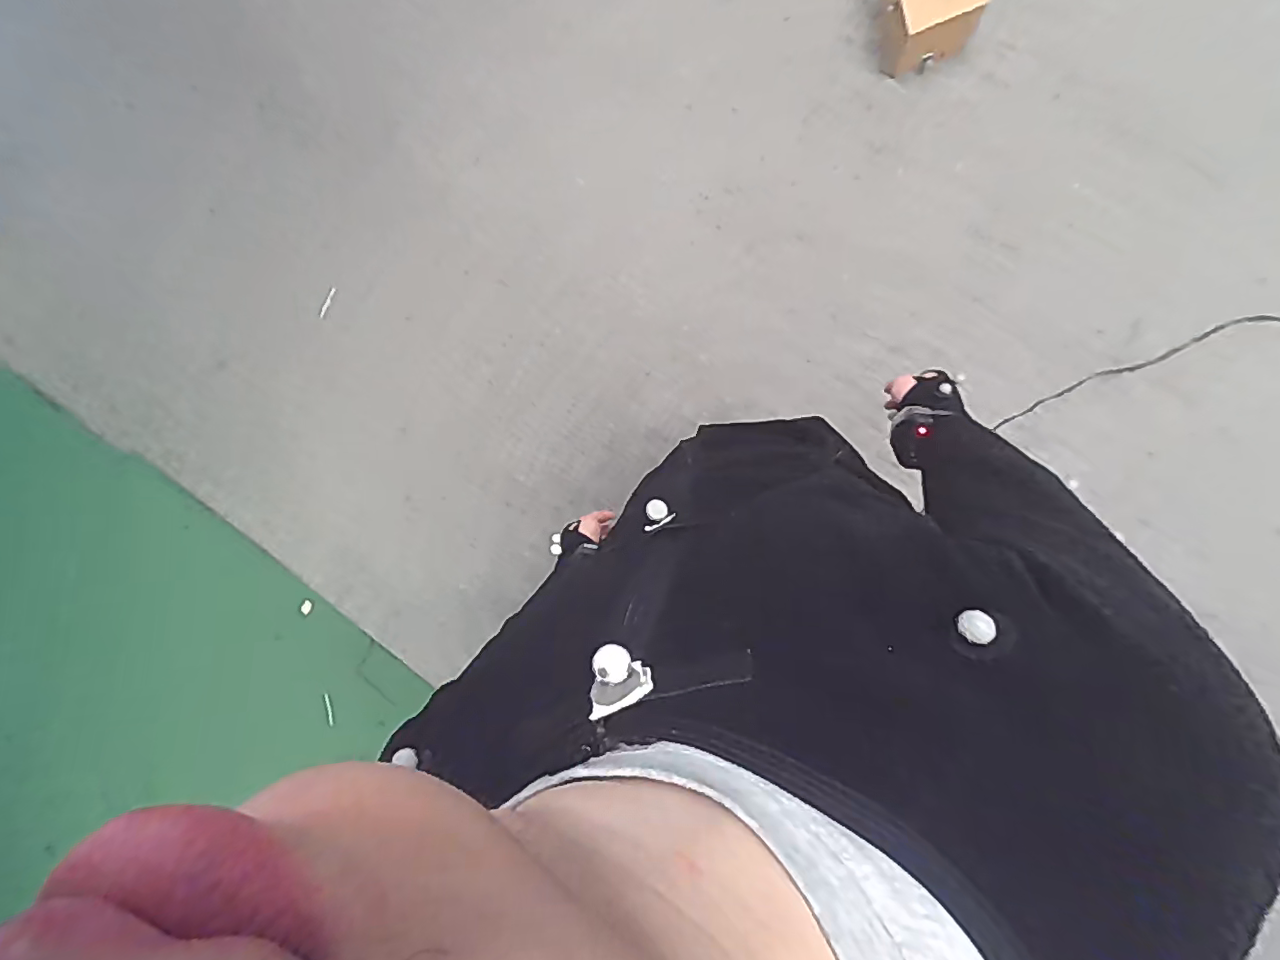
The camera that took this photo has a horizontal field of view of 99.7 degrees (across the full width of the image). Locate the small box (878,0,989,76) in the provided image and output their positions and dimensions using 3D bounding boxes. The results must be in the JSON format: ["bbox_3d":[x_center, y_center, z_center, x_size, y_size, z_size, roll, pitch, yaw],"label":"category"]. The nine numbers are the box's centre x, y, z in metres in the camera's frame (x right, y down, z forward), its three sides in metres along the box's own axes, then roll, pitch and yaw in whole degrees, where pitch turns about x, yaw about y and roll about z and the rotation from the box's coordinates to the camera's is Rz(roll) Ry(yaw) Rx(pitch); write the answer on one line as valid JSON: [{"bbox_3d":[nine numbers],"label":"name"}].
[{"bbox_3d":[0.661,-1.087,1.237,0.168,0.176,0.179,-15,94,16],"label":"small box"}]
